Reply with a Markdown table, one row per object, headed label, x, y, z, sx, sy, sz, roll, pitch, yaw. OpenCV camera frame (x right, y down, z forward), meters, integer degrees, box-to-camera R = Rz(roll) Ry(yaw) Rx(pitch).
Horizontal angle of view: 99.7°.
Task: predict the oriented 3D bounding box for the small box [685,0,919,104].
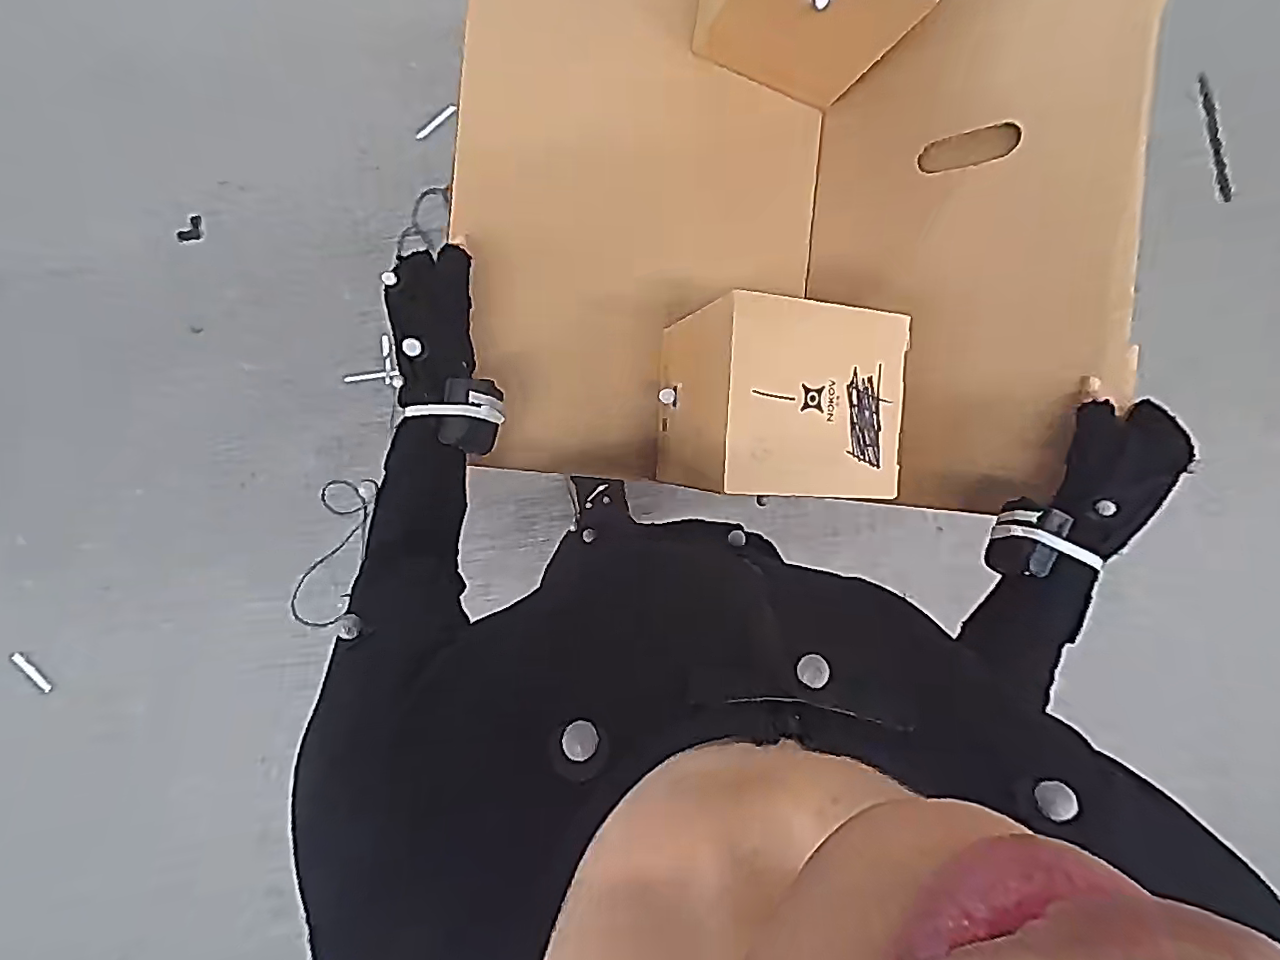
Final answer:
| label | x | y | z | sx | sy | sz | roll | pitch | yaw |
| --- | --- | --- | --- | --- | --- | --- | --- | --- | --- |
| small box | 0.160 | -0.519 | 0.532 | 0.179 | 0.176 | 0.168 | 8 | 90 | -19 |

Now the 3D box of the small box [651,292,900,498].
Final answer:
| label | x | y | z | sx | sy | sz | roll | pitch | yaw |
| --- | --- | --- | --- | --- | --- | --- | --- | --- | --- |
| small box | 0.123 | -0.073 | 0.539 | 0.179 | 0.176 | 0.168 | 2 | 92 | -17 |
